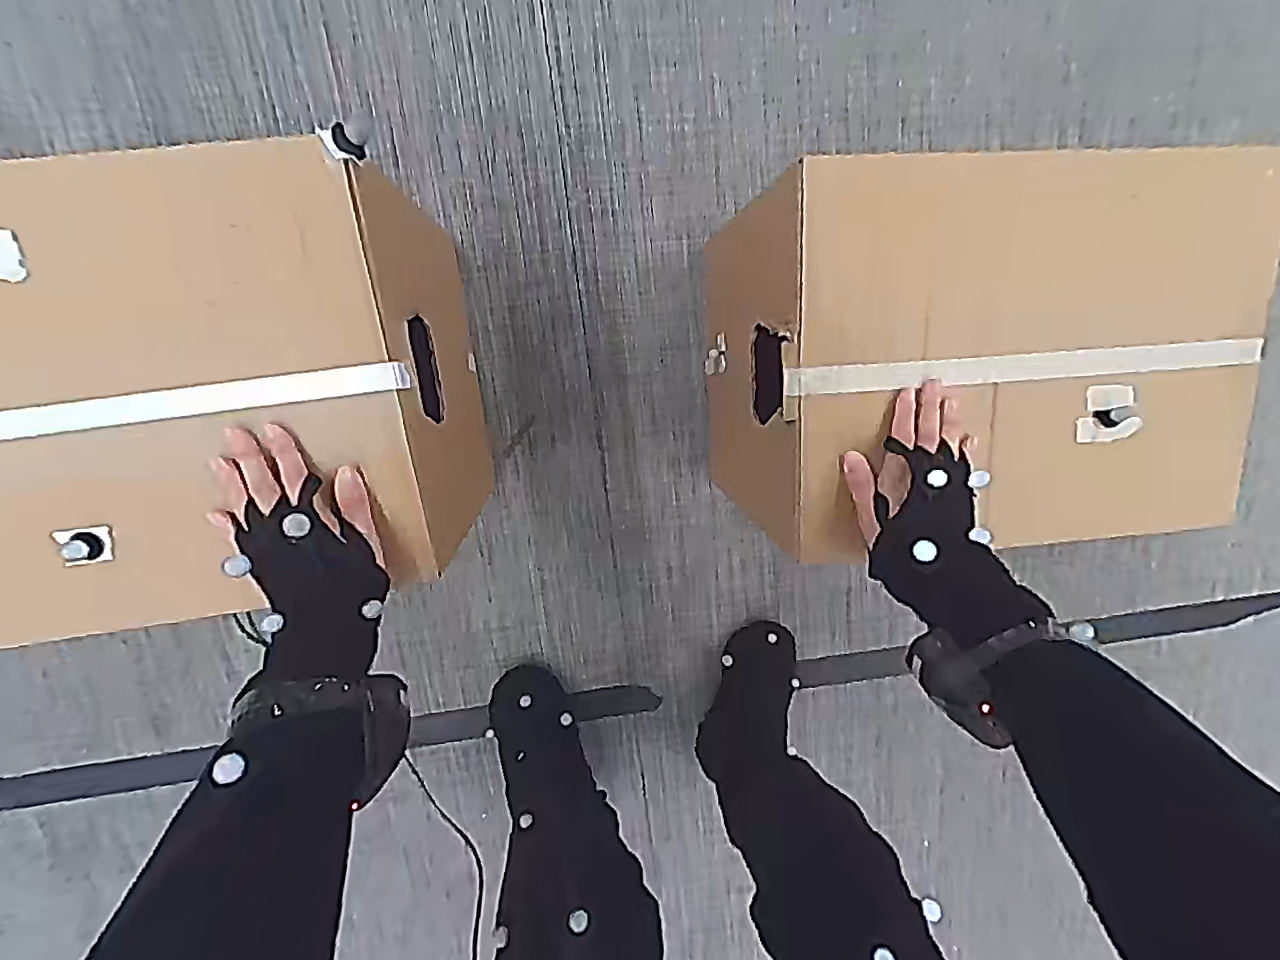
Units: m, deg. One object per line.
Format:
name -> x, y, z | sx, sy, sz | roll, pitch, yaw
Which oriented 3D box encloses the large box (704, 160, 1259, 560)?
large box -> 0.305, -0.127, 0.601 | 0.408, 0.320, 0.320 | -5, 104, -6
